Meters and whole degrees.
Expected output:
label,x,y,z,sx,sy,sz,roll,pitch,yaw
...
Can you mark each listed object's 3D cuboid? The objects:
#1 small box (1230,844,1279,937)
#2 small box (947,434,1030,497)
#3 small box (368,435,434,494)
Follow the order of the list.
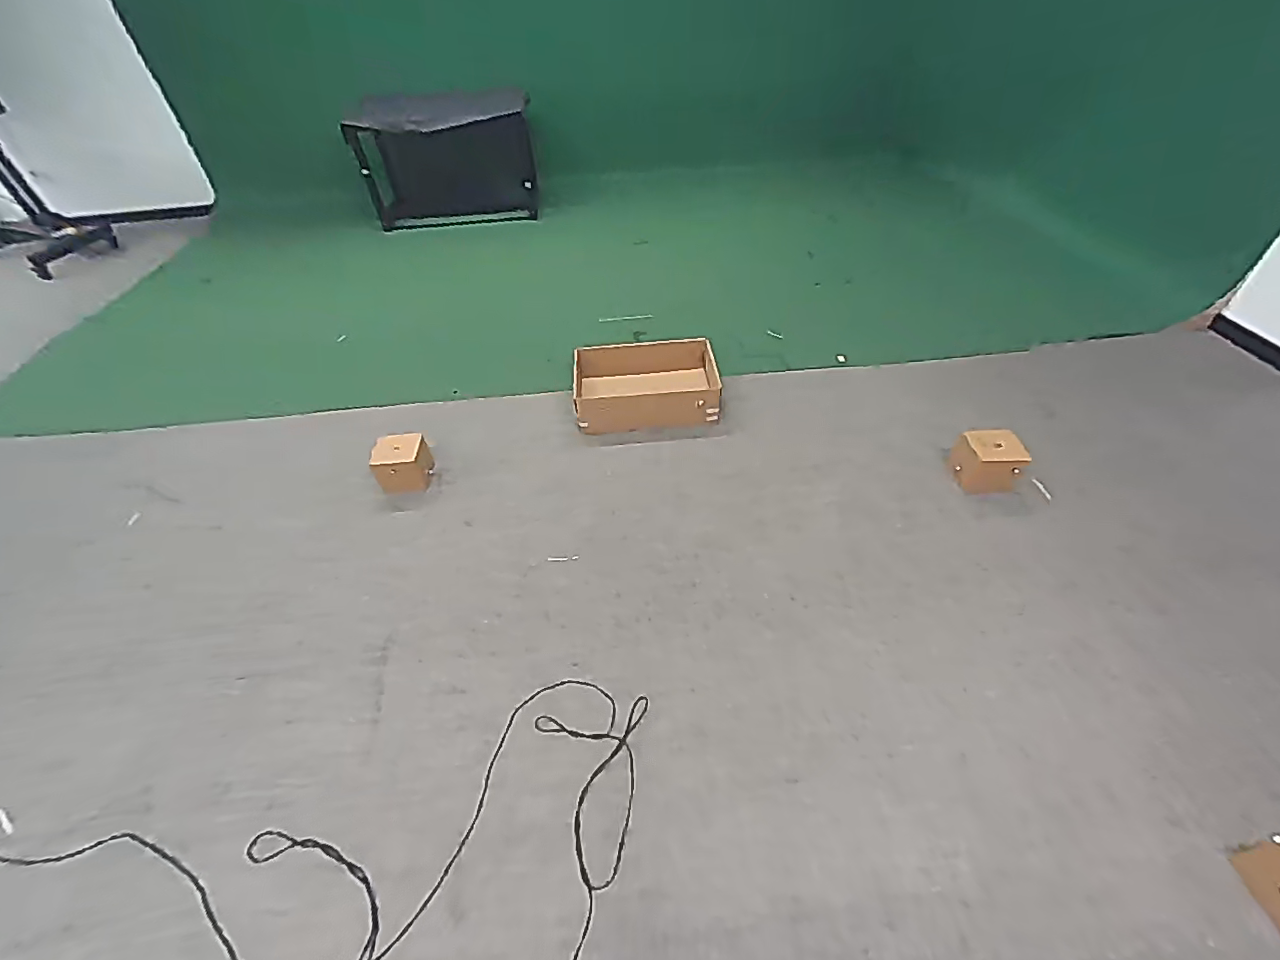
label,x,y,z,sx,sy,sz,roll,pitch,yaw
small box,1.379,0.841,1.081,0.168,0.176,0.179,-4,44,0
small box,1.267,-0.051,1.979,0.179,0.176,0.168,-1,44,3
small box,-0.936,-0.057,2.132,0.179,0.176,0.168,-5,46,-3
